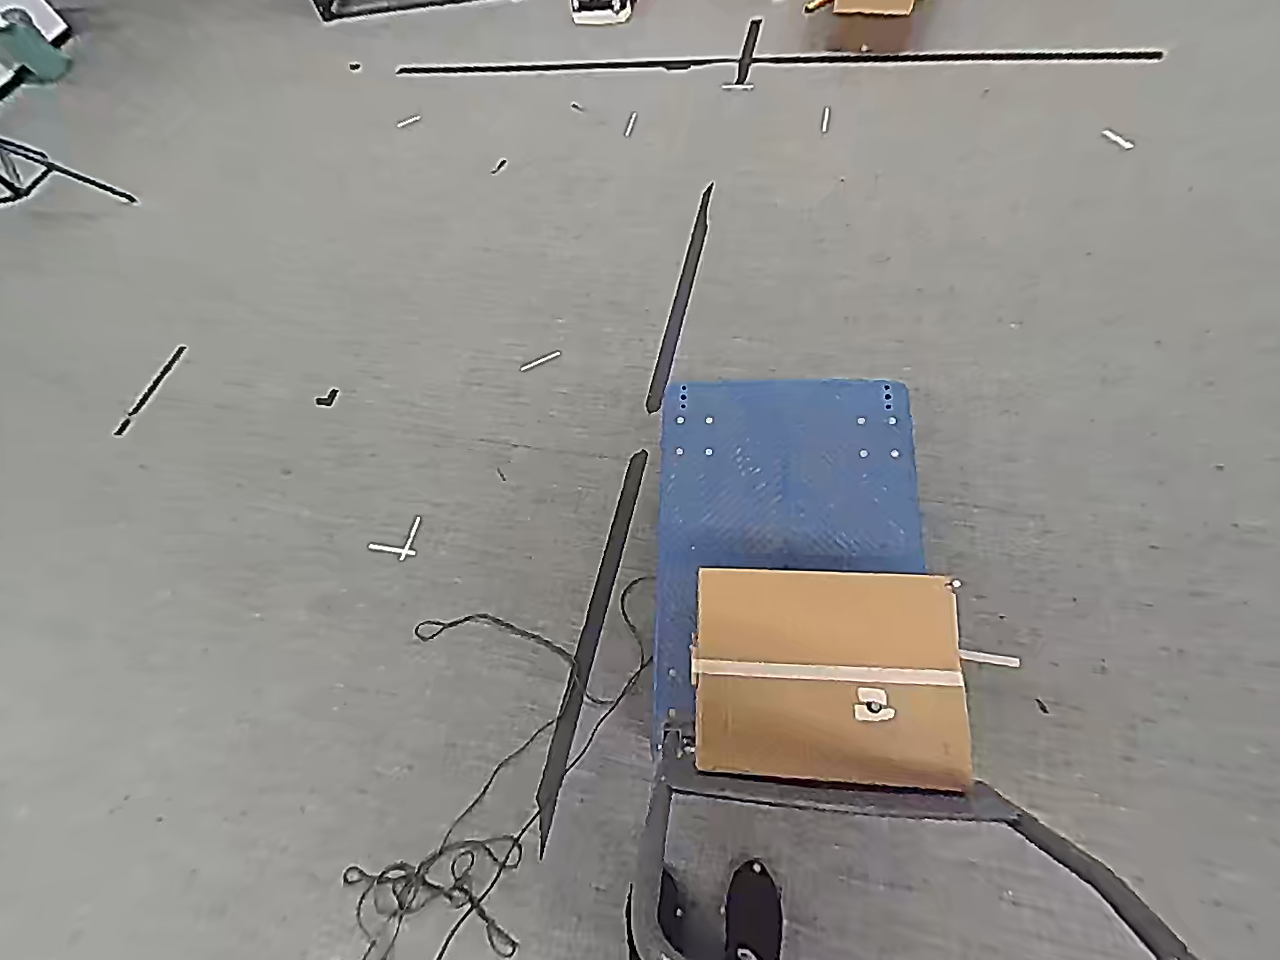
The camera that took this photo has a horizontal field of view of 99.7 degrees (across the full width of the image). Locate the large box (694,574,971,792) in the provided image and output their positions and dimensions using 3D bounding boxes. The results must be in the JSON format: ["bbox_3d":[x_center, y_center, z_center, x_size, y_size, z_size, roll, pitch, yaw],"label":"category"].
[{"bbox_3d":[0.303,0.348,0.987,0.408,0.320,0.320,1,75,6],"label":"large box"}]
